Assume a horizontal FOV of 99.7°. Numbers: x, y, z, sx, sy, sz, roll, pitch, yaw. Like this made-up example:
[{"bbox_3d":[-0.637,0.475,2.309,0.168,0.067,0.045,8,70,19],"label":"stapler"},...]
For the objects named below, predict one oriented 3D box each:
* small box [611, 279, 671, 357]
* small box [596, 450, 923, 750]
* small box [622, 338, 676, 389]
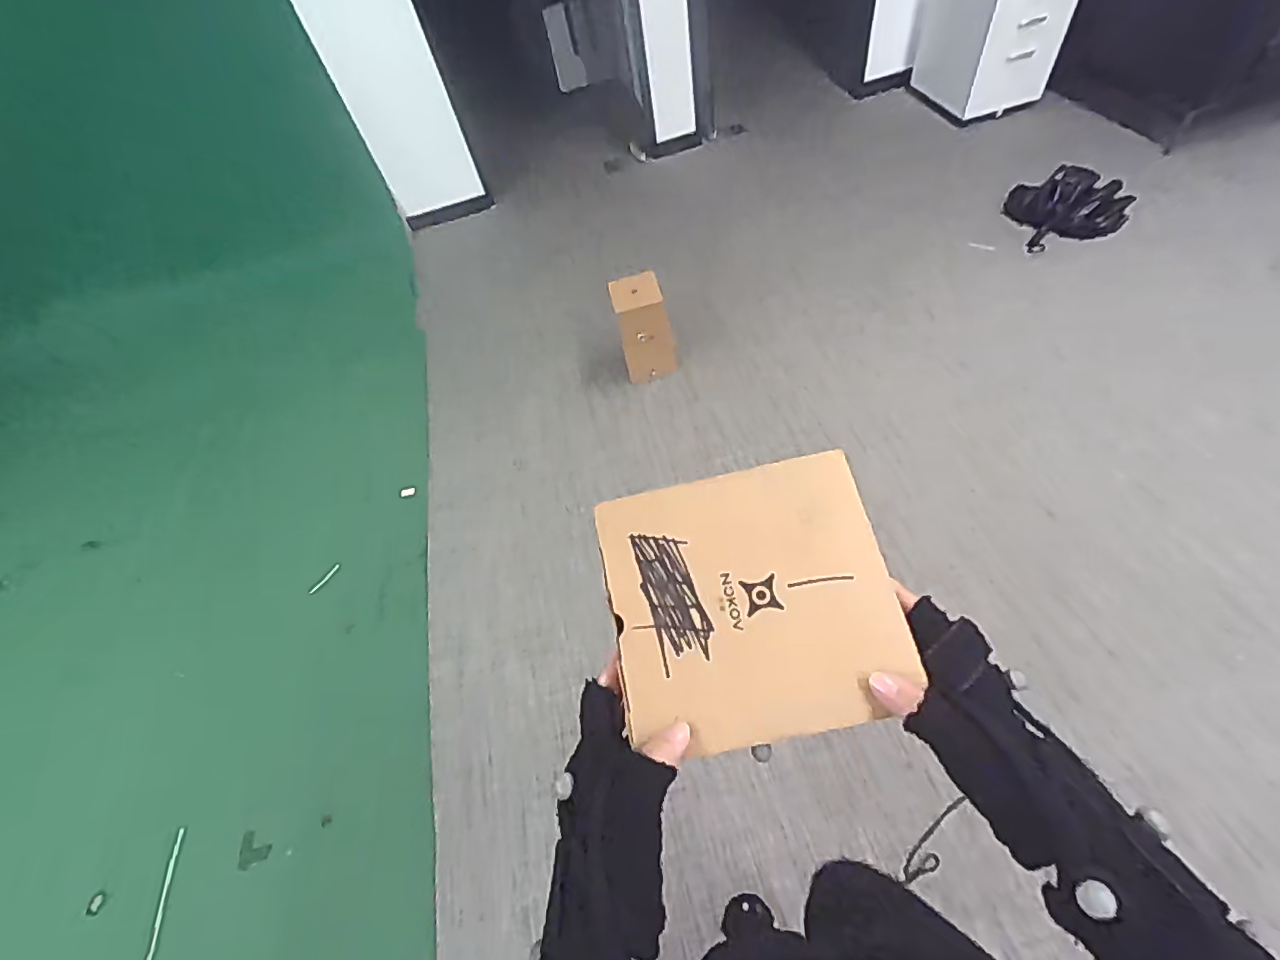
[{"bbox_3d":[0.005,-0.564,1.890,0.168,0.176,0.179,-16,54,3],"label":"small box"},{"bbox_3d":[0.077,0.100,0.420,0.179,0.176,0.168,-13,68,2],"label":"small box"},{"bbox_3d":[0.035,-0.465,2.016,0.179,0.176,0.168,-13,53,2],"label":"small box"}]
